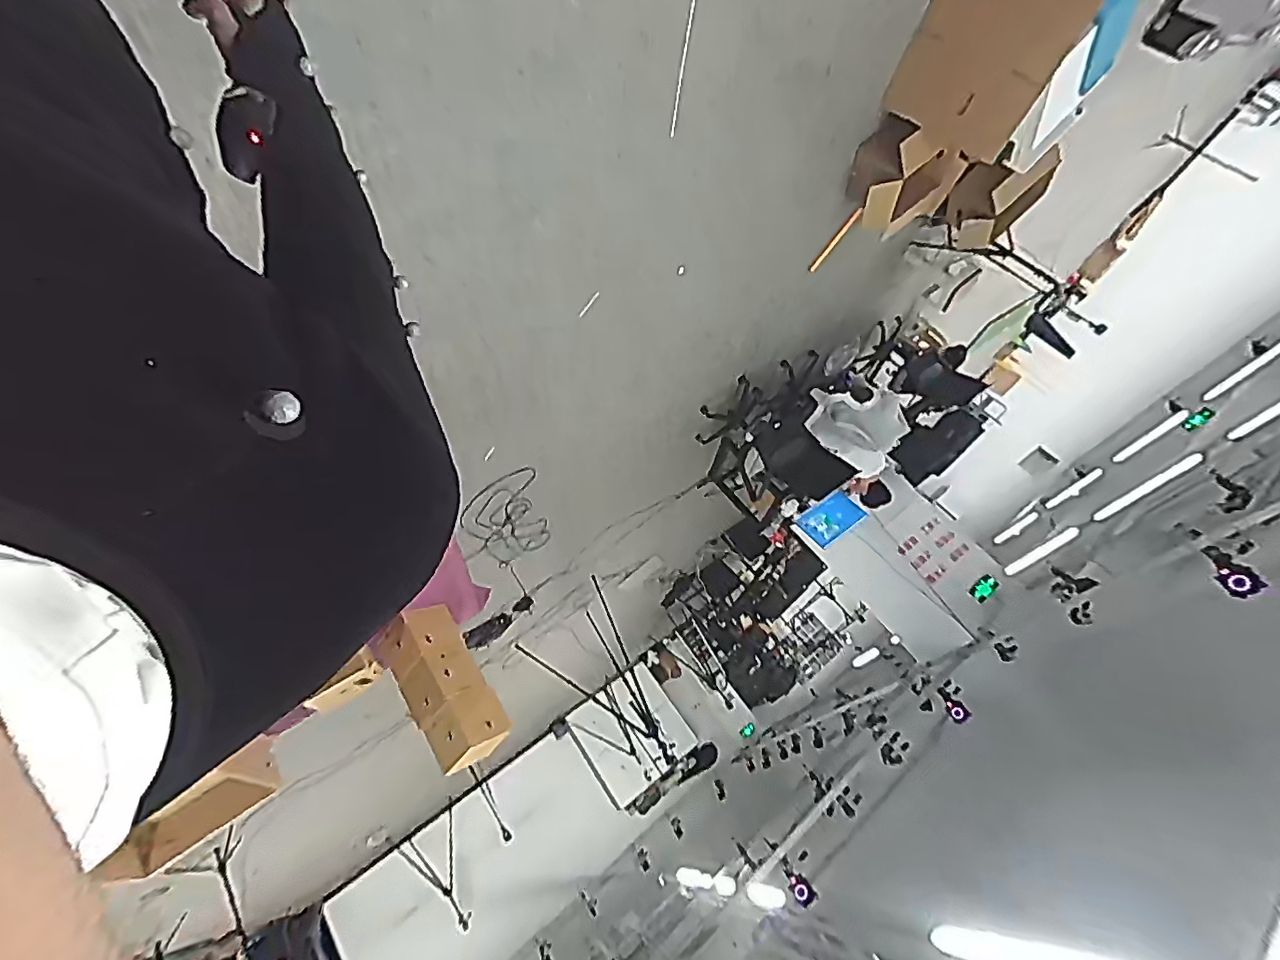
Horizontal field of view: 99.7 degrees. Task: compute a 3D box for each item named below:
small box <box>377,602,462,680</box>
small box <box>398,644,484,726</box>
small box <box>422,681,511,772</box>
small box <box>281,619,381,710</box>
[{"bbox_3d":[-0.742,0.532,1.809,0.168,0.176,0.179,-48,157,20],"label":"small box"},{"bbox_3d":[-0.649,0.651,1.749,0.179,0.176,0.168,-49,156,19],"label":"small box"},{"bbox_3d":[-0.548,0.764,1.692,0.168,0.176,0.179,-50,156,21],"label":"small box"},{"bbox_3d":[-0.888,0.528,1.559,0.179,0.176,0.168,-31,157,-22],"label":"small box"}]
